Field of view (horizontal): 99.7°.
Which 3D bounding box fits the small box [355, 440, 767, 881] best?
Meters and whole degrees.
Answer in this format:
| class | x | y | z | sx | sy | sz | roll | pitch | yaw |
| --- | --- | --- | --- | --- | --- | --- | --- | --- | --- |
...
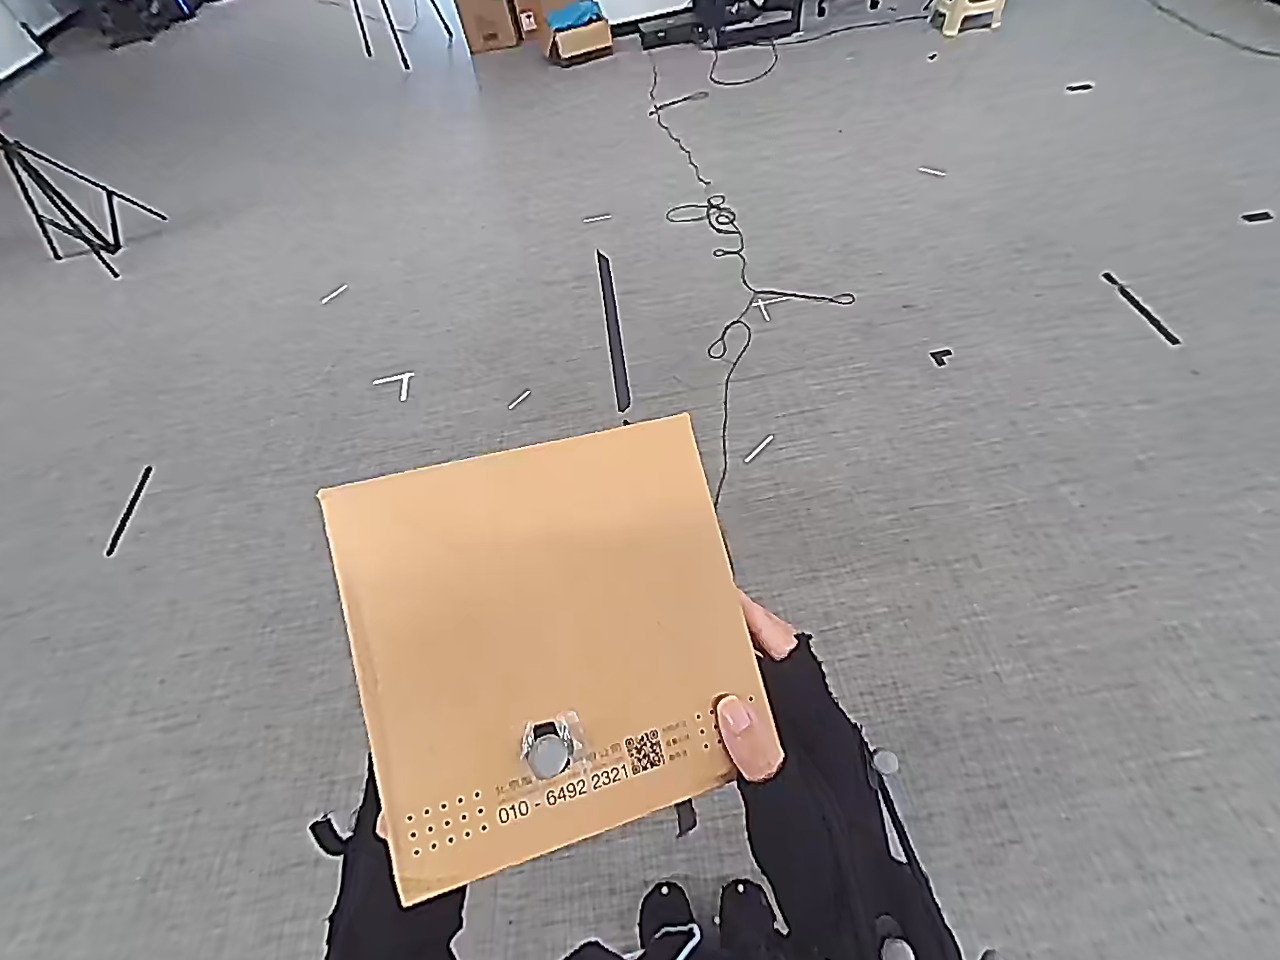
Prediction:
| class | x | y | z | sx | sy | sz | roll | pitch | yaw |
| --- | --- | --- | --- | --- | --- | --- | --- | --- | --- |
| small box | -0.047 | 0.090 | 0.328 | 0.168 | 0.179 | 0.176 | -13 | 83 | -13 |
